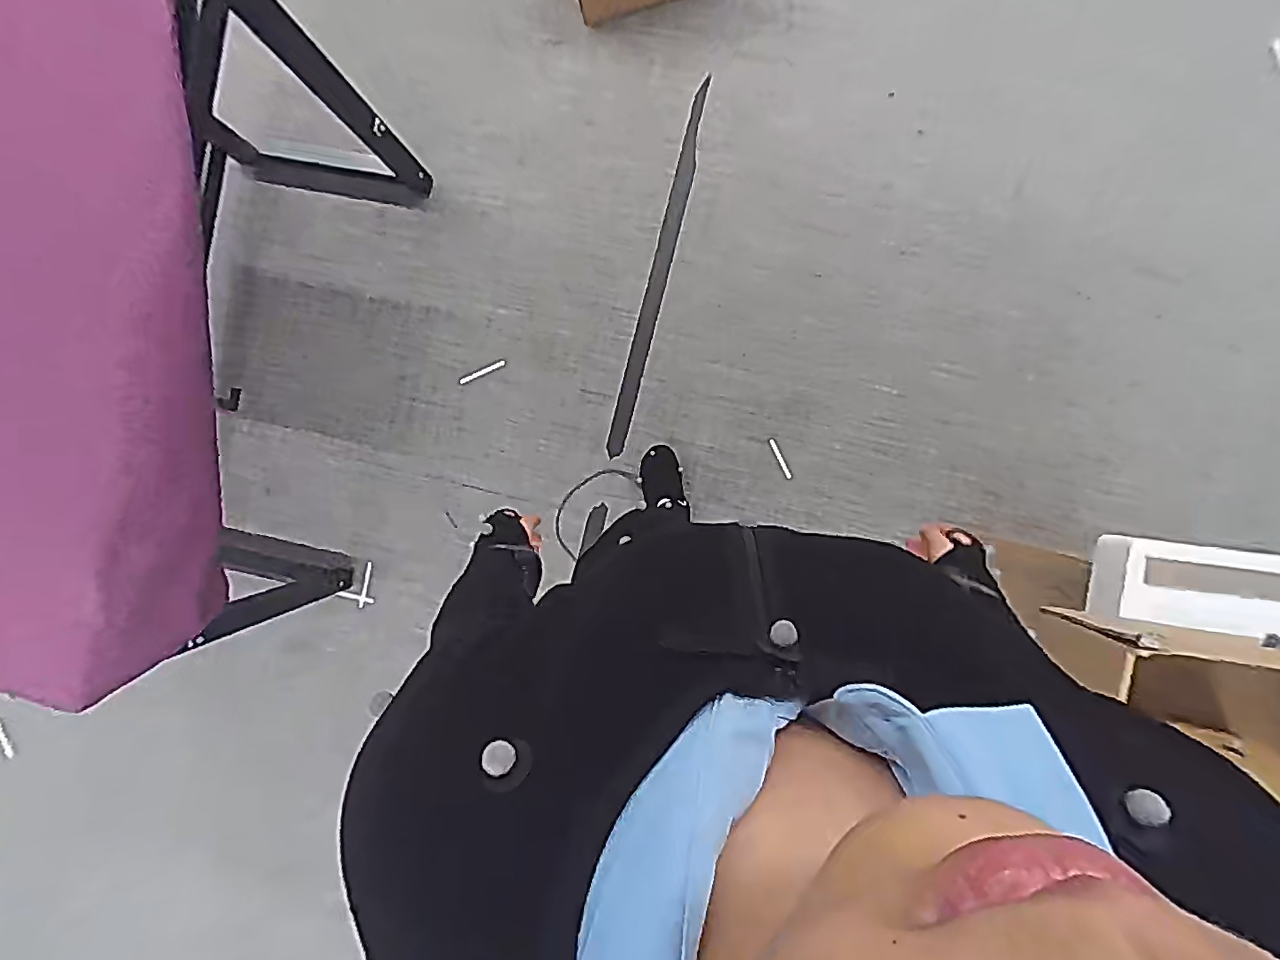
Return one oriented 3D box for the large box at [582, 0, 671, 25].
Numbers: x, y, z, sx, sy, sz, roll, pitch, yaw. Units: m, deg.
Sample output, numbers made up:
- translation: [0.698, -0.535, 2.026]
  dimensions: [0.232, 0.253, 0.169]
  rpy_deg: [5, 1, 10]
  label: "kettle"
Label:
- translation: [0.010, -1.407, 1.289]
  dimensions: [0.408, 0.320, 0.320]
  rpy_deg: [-13, 90, 5]
  label: "large box"
